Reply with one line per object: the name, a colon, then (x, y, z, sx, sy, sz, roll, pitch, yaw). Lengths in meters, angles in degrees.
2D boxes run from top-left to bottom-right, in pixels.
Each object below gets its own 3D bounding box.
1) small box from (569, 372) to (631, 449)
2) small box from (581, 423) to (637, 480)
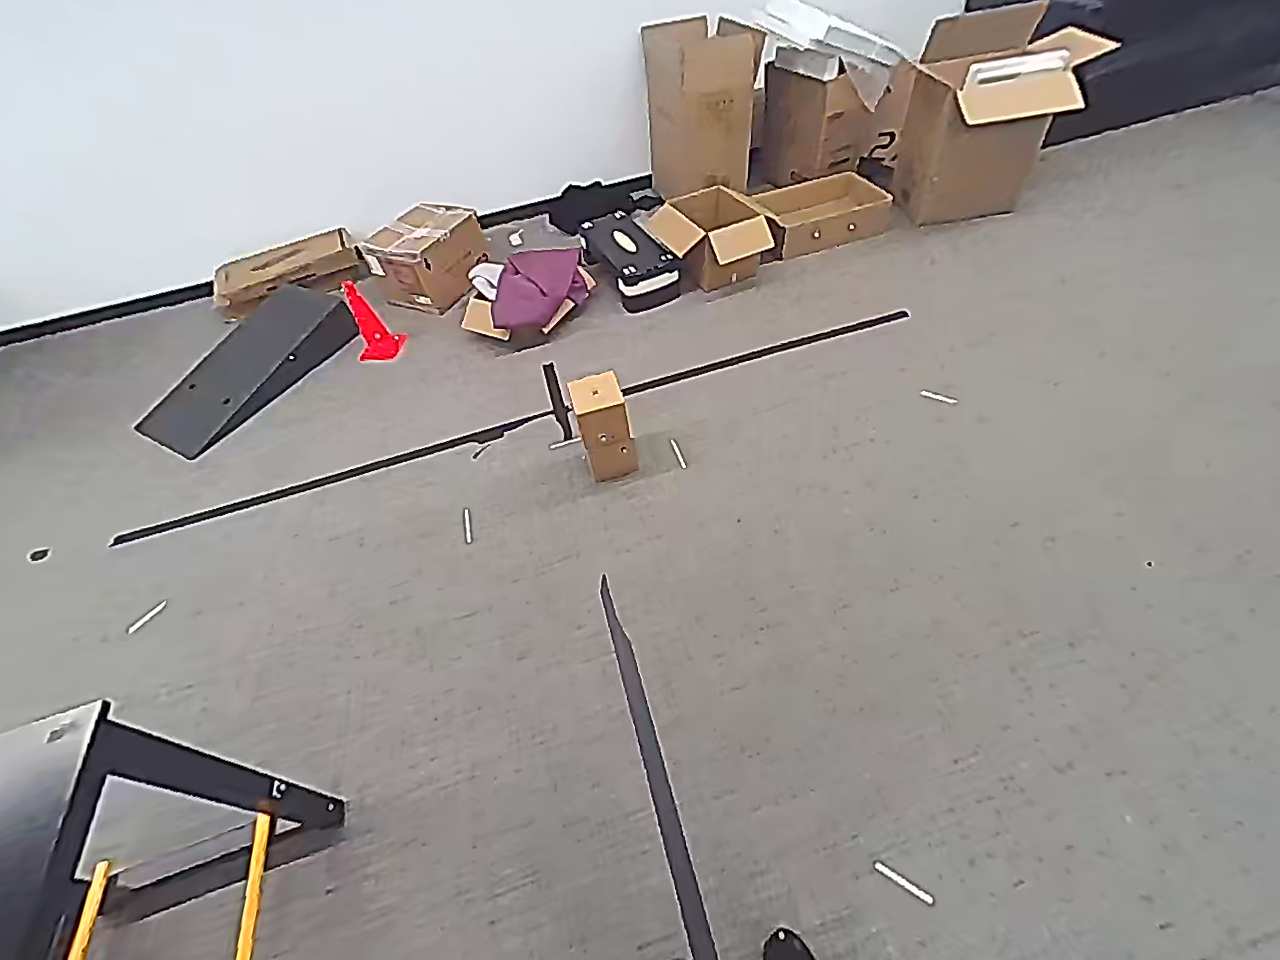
small box: (-0.137, -0.238, 1.857, 0.168, 0.176, 0.179, -16, 51, -5)
small box: (-0.112, -0.127, 1.974, 0.179, 0.176, 0.168, -17, 50, -7)
